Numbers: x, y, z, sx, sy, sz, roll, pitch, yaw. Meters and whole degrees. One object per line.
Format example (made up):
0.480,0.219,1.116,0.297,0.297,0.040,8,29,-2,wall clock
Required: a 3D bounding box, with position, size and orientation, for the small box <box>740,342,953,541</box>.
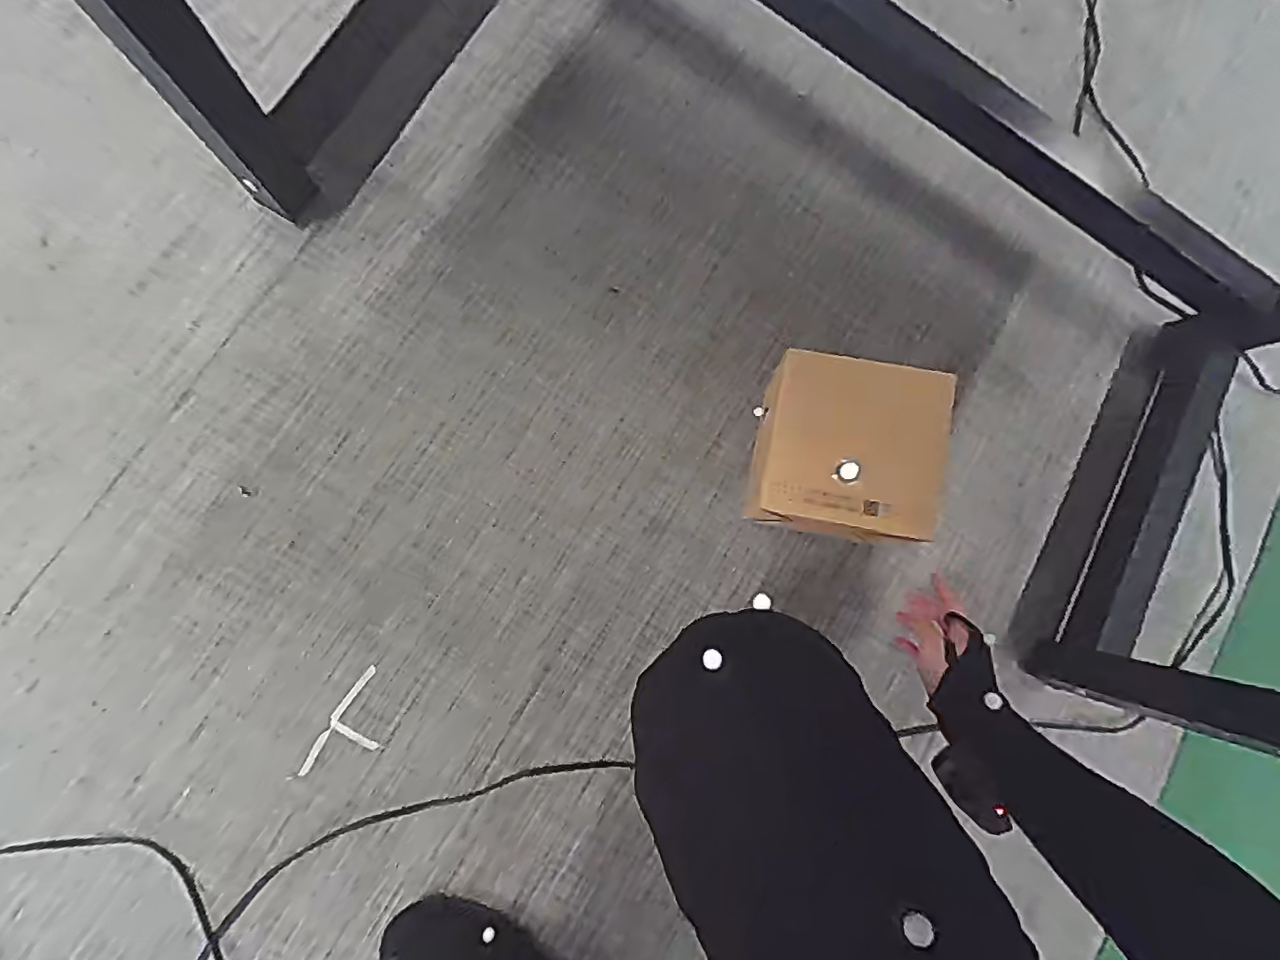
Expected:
0.211,-0.031,0.598,0.168,0.179,0.176,11,85,7,small box
